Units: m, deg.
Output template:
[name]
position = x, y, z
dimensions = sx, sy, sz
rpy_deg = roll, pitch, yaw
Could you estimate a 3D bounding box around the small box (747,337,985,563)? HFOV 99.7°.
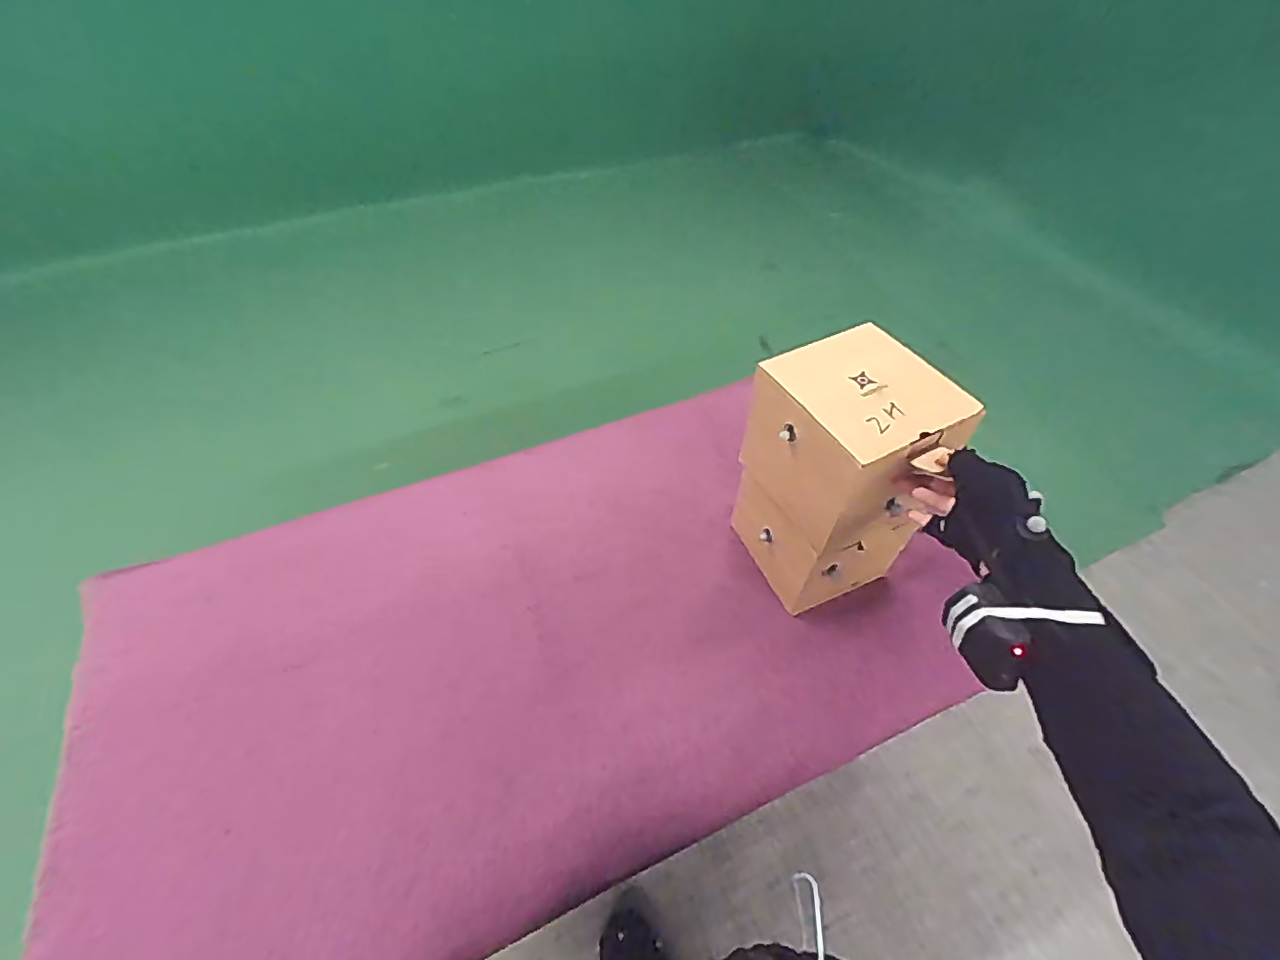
[small box]
position = 0.246, -0.034, 0.641
dimensions = 0.168, 0.176, 0.179
rpy_deg = -22, 54, -15
